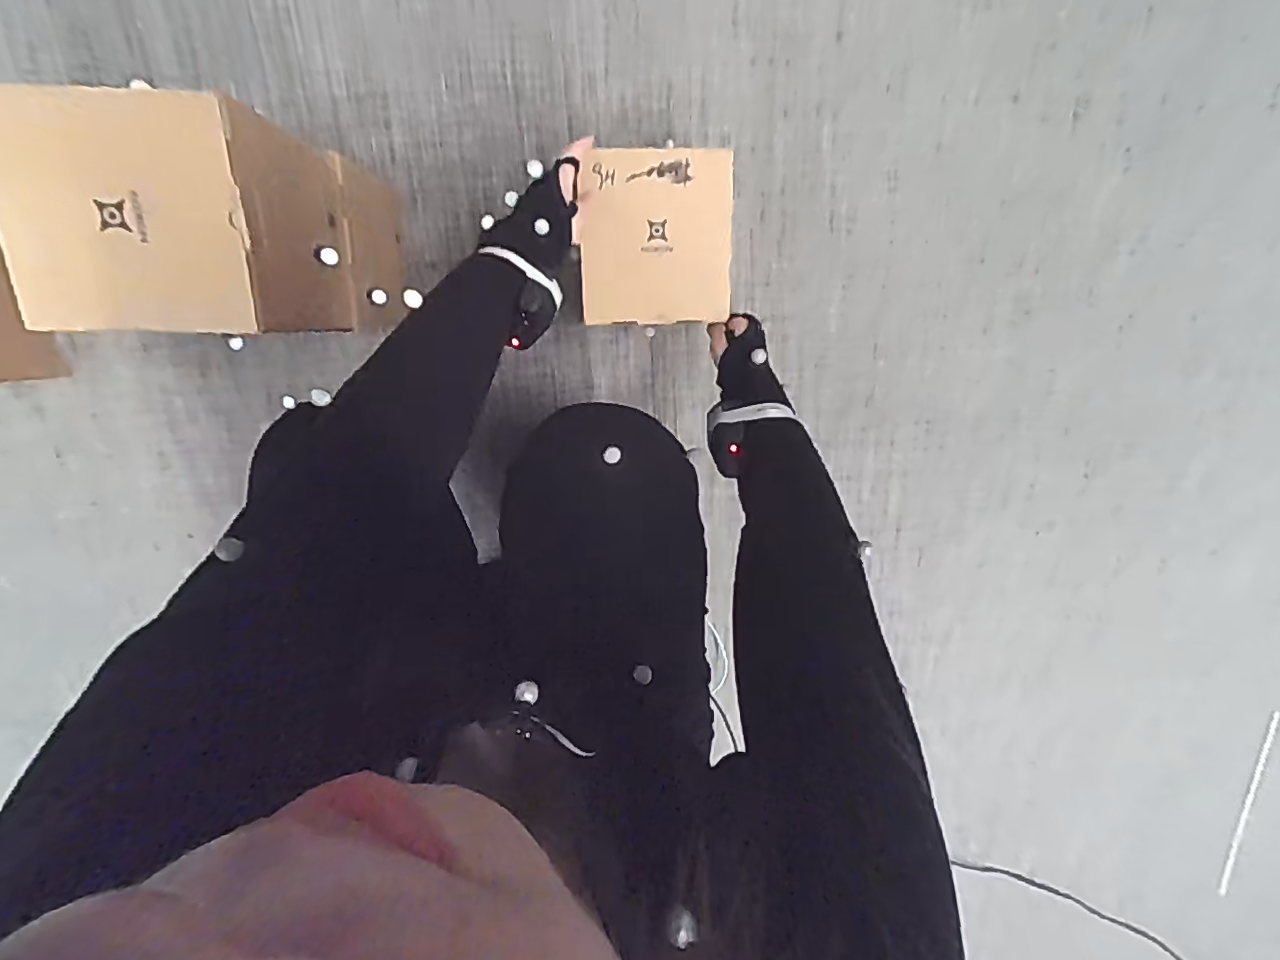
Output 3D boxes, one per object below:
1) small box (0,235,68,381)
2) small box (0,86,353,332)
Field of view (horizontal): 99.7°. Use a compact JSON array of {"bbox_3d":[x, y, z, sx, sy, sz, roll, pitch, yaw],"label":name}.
[{"bbox_3d":[-0.848,-0.199,0.632,0.168,0.176,0.179,-5,106,-3],"label":"small box"},{"bbox_3d":[-0.391,-0.221,0.485,0.179,0.176,0.168,0,106,-4],"label":"small box"}]
